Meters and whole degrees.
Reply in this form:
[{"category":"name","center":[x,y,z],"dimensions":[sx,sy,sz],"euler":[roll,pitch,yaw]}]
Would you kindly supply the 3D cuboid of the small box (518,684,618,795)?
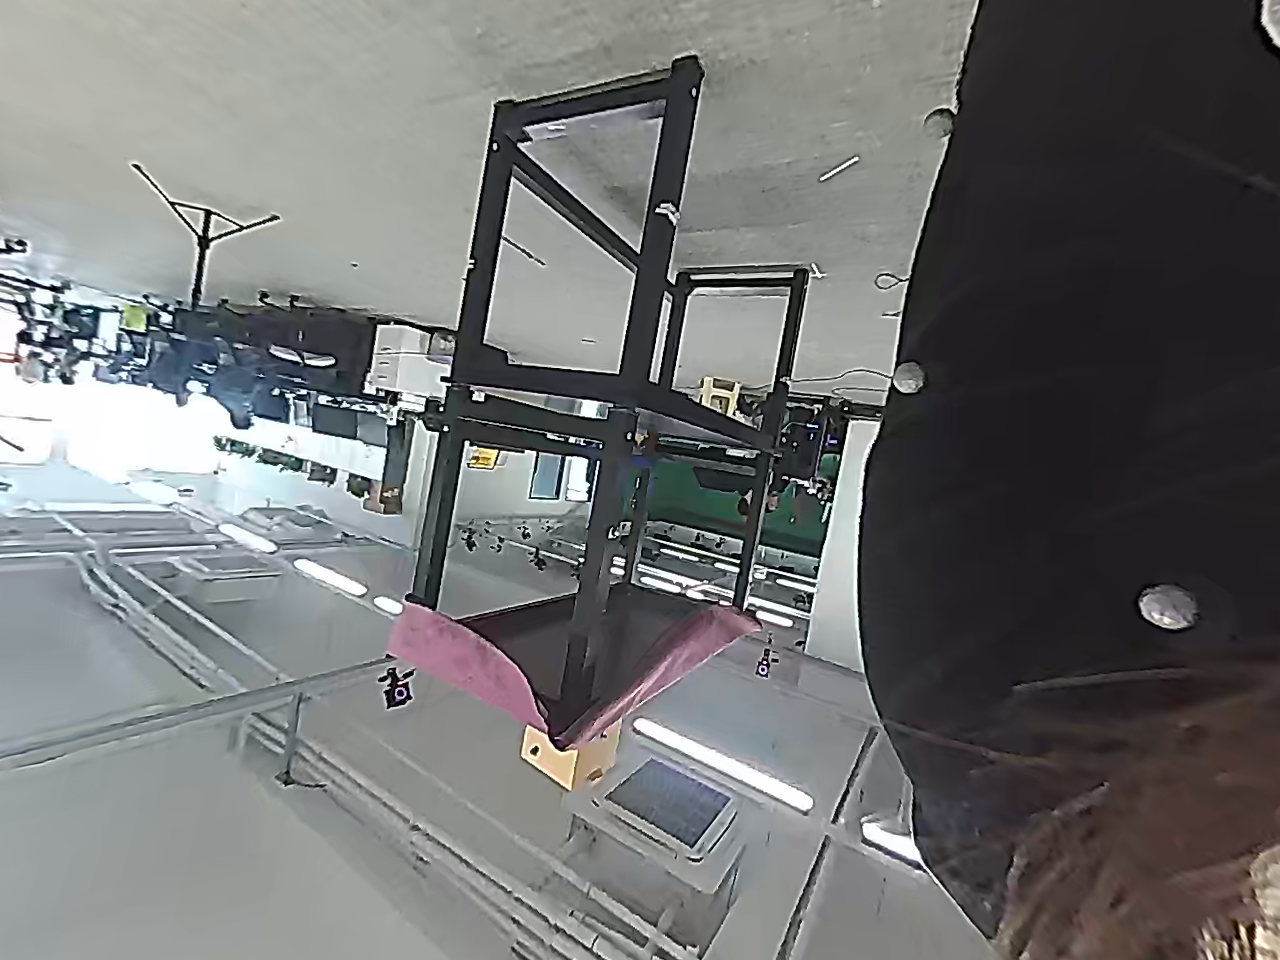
[{"category":"small box","center":[-0.176,0.635,1.353],"dimensions":[0.179,0.176,0.168],"euler":[12,-176,35]}]
